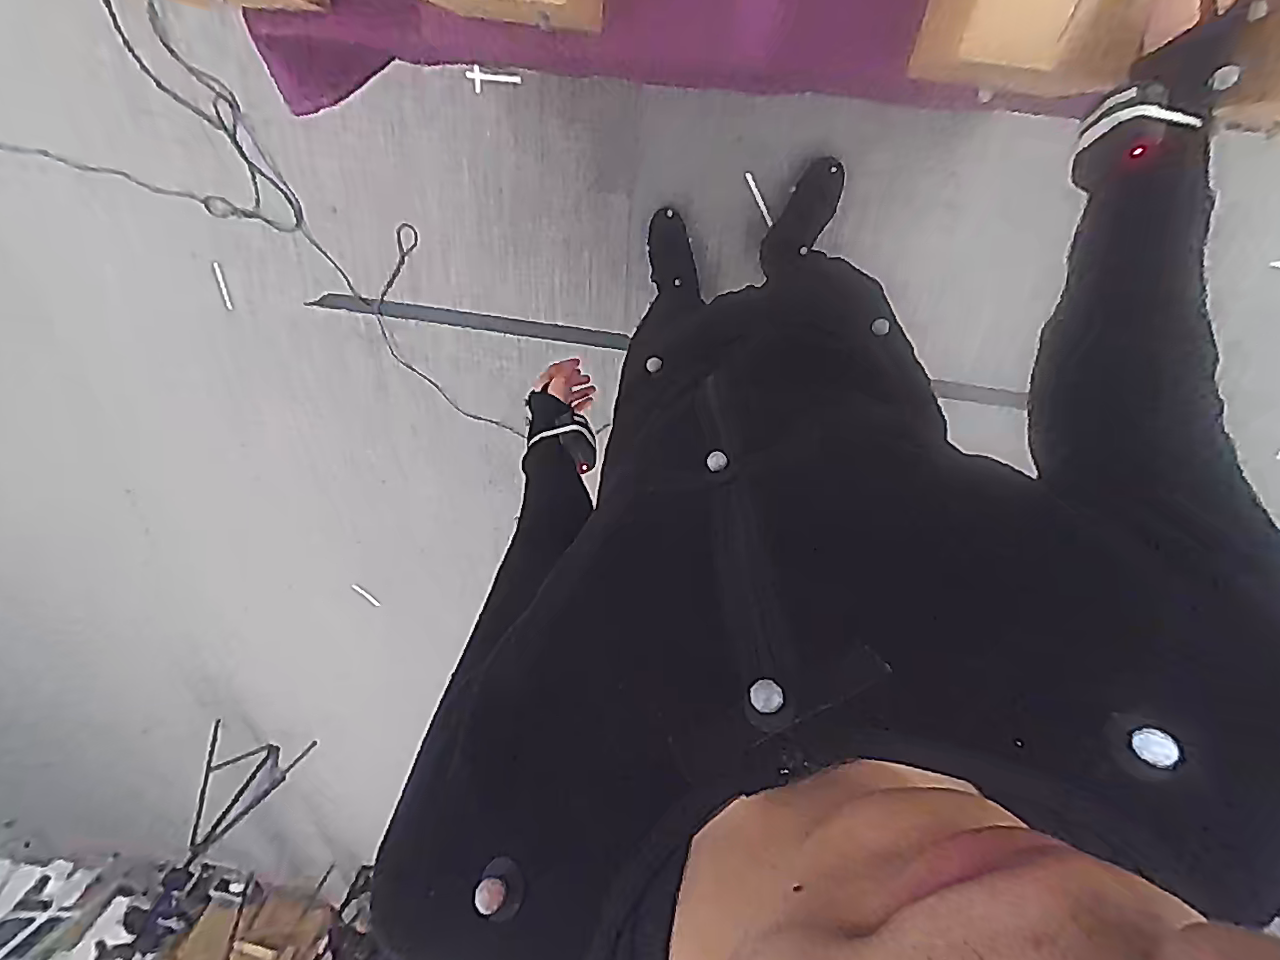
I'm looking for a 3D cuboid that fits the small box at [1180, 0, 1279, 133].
[{"bbox_3d":[0.658,-0.421,0.479,0.168,0.176,0.179,12,123,3],"label":"small box"}]

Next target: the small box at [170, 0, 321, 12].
[{"bbox_3d":[-0.473,-0.607,0.559,0.179,0.176,0.168,5,123,5],"label":"small box"}]

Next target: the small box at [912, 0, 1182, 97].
[{"bbox_3d":[0.378,-0.473,0.497,0.168,0.176,0.179,11,124,3],"label":"small box"}]
